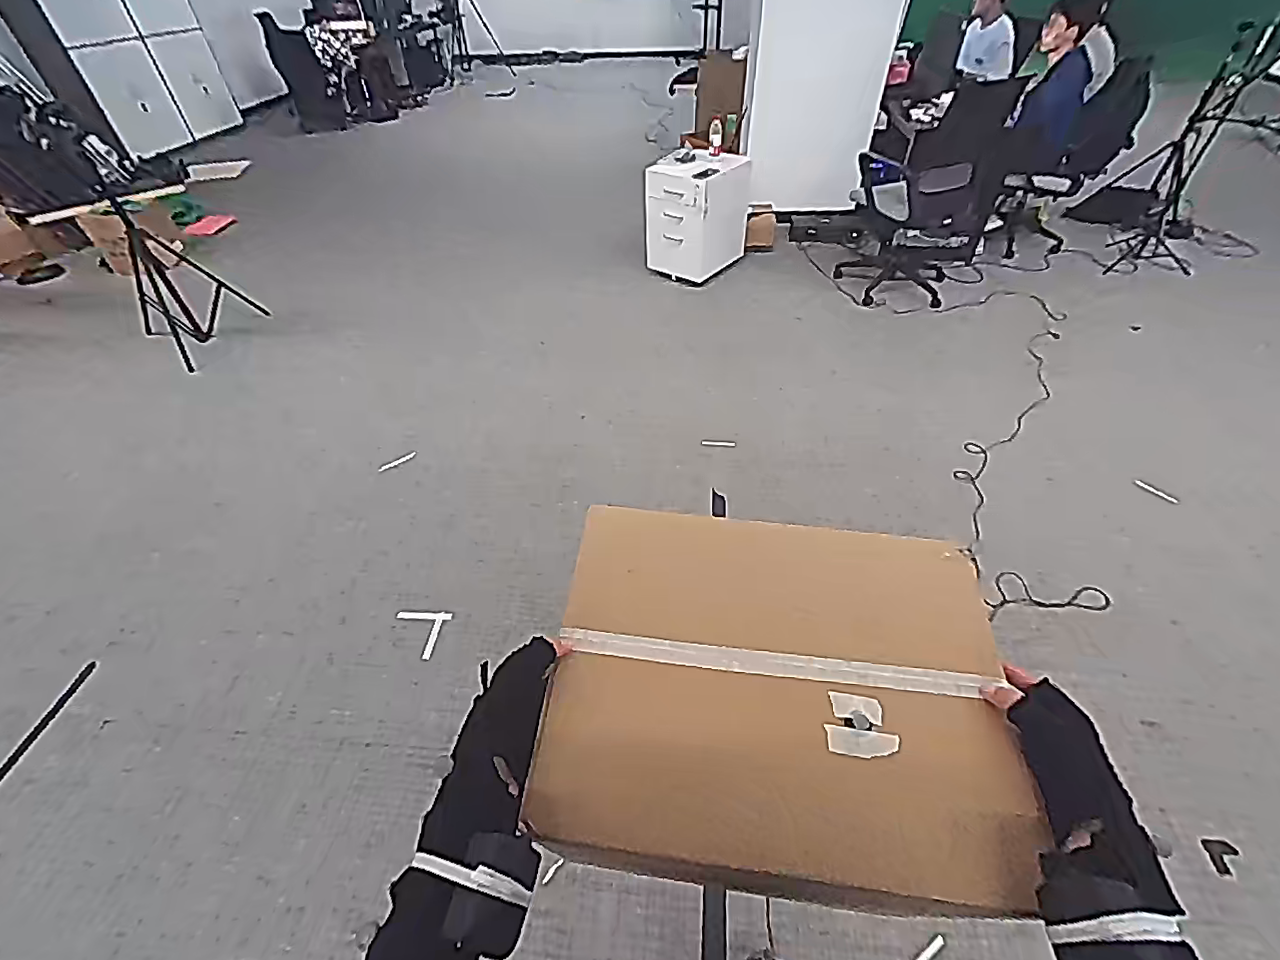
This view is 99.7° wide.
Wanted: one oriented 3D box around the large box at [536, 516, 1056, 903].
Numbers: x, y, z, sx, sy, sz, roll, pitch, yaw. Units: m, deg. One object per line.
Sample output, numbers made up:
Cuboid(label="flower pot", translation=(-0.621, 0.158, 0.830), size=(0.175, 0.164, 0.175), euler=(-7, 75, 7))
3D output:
Cuboid(label="large box", translation=(0.127, 0.266, 0.619), size=(0.408, 0.320, 0.320), euler=(5, 53, 4))
